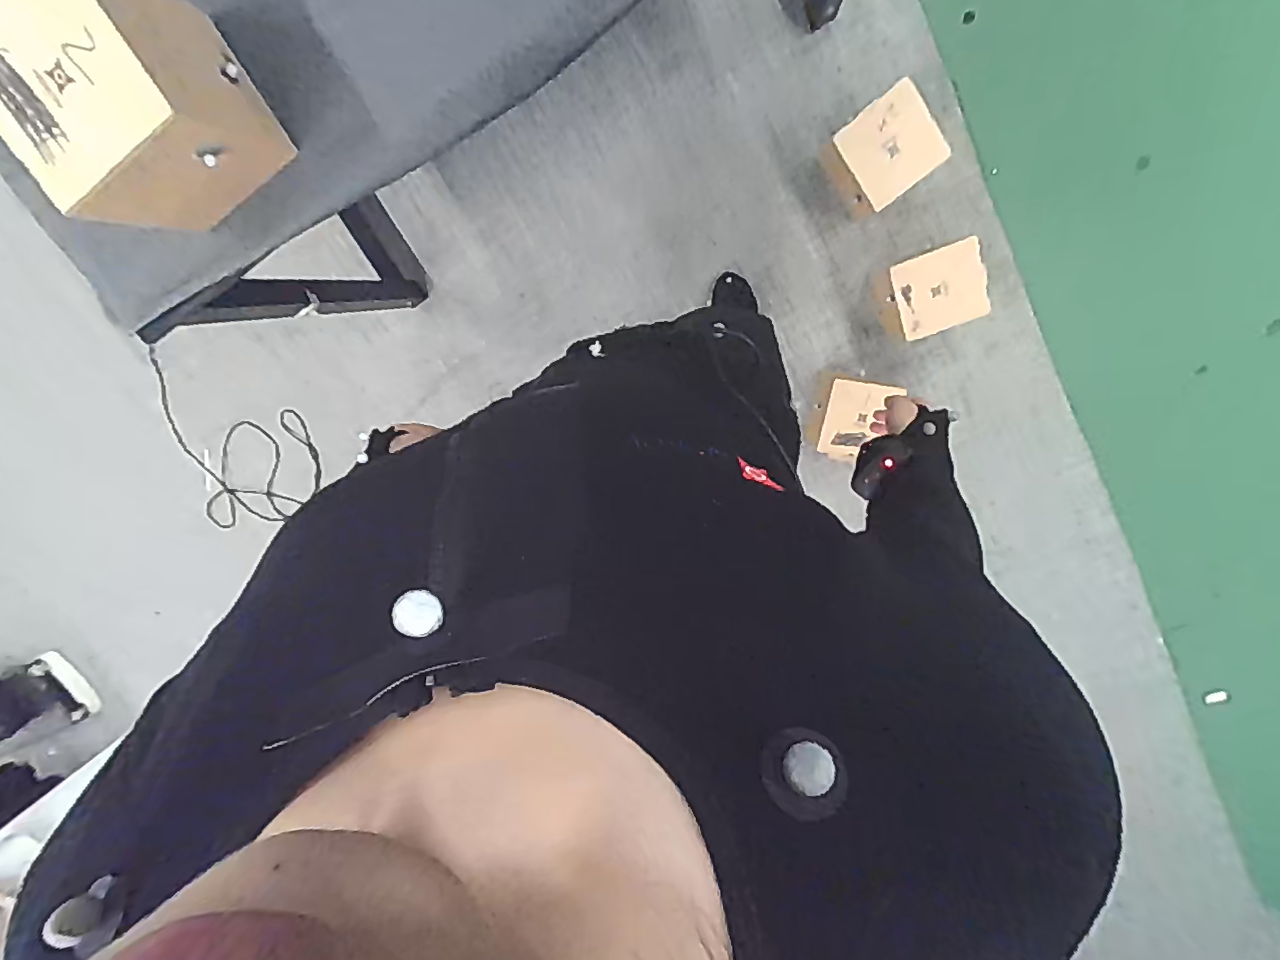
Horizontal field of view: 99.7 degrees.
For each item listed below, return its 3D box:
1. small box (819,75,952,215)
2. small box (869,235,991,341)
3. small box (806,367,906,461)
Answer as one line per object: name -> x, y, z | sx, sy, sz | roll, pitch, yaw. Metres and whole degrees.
small box -> 0.499, -0.678, 1.123 | 0.168, 0.176, 0.179 | -35, 102, 17
small box -> 0.635, -0.425, 1.198 | 0.179, 0.176, 0.168 | -18, 107, 13
small box -> 0.512, -0.165, 1.310 | 0.168, 0.176, 0.179 | 10, 110, 4
